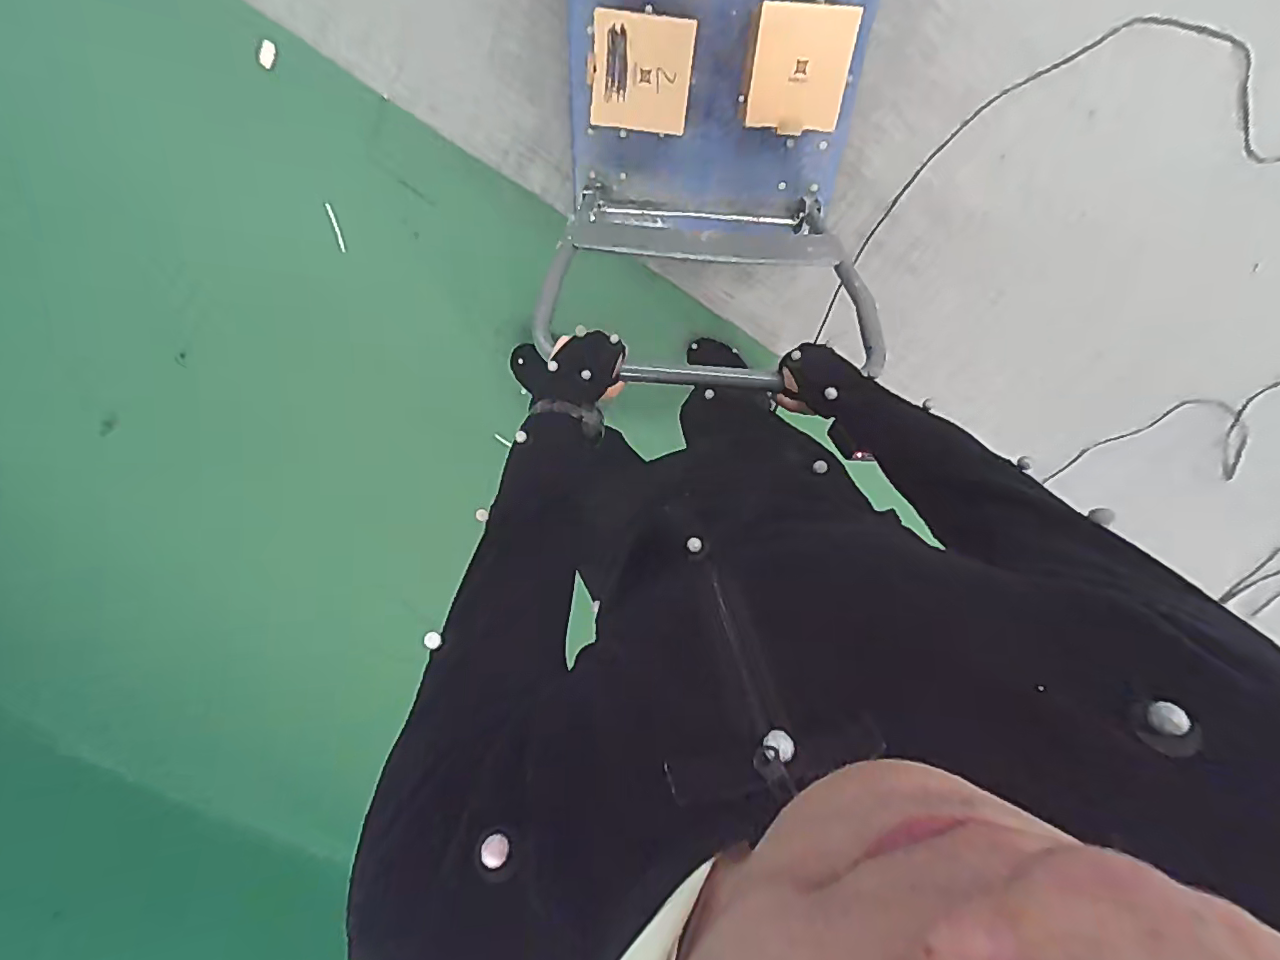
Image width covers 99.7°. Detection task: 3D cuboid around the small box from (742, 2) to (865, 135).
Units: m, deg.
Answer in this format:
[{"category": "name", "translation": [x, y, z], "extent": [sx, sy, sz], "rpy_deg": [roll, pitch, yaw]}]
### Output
[{"category": "small box", "translation": [0.286, -0.752, 0.995], "extent": [0.168, 0.176, 0.179], "rpy_deg": [5, 129, 1]}]
